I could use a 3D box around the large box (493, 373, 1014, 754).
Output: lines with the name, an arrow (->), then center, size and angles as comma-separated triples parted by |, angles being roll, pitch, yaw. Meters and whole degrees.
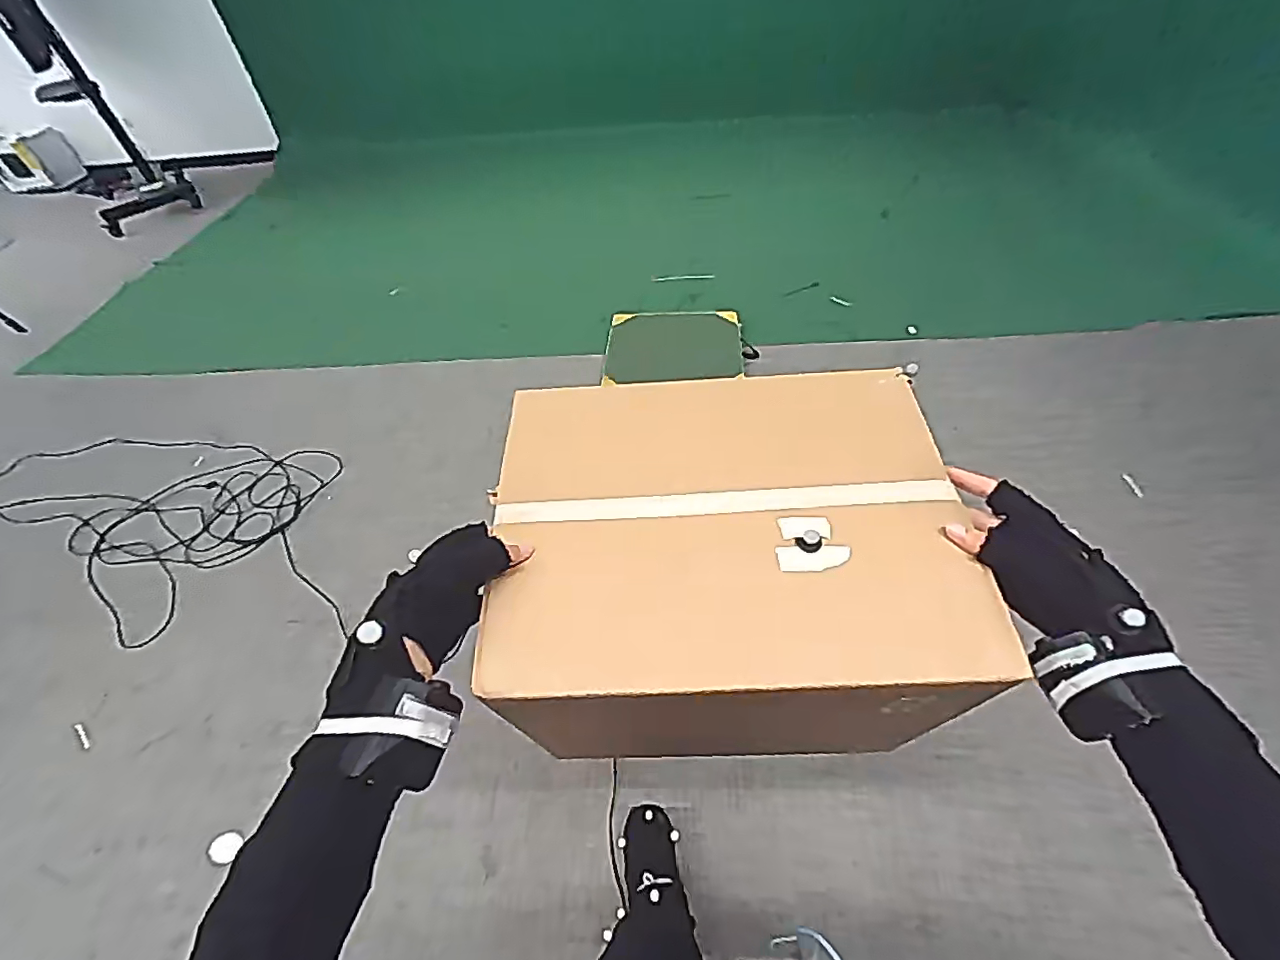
large box -> 0.084, 0.108, 0.612 | 0.408, 0.320, 0.320 | -3, 55, 1
